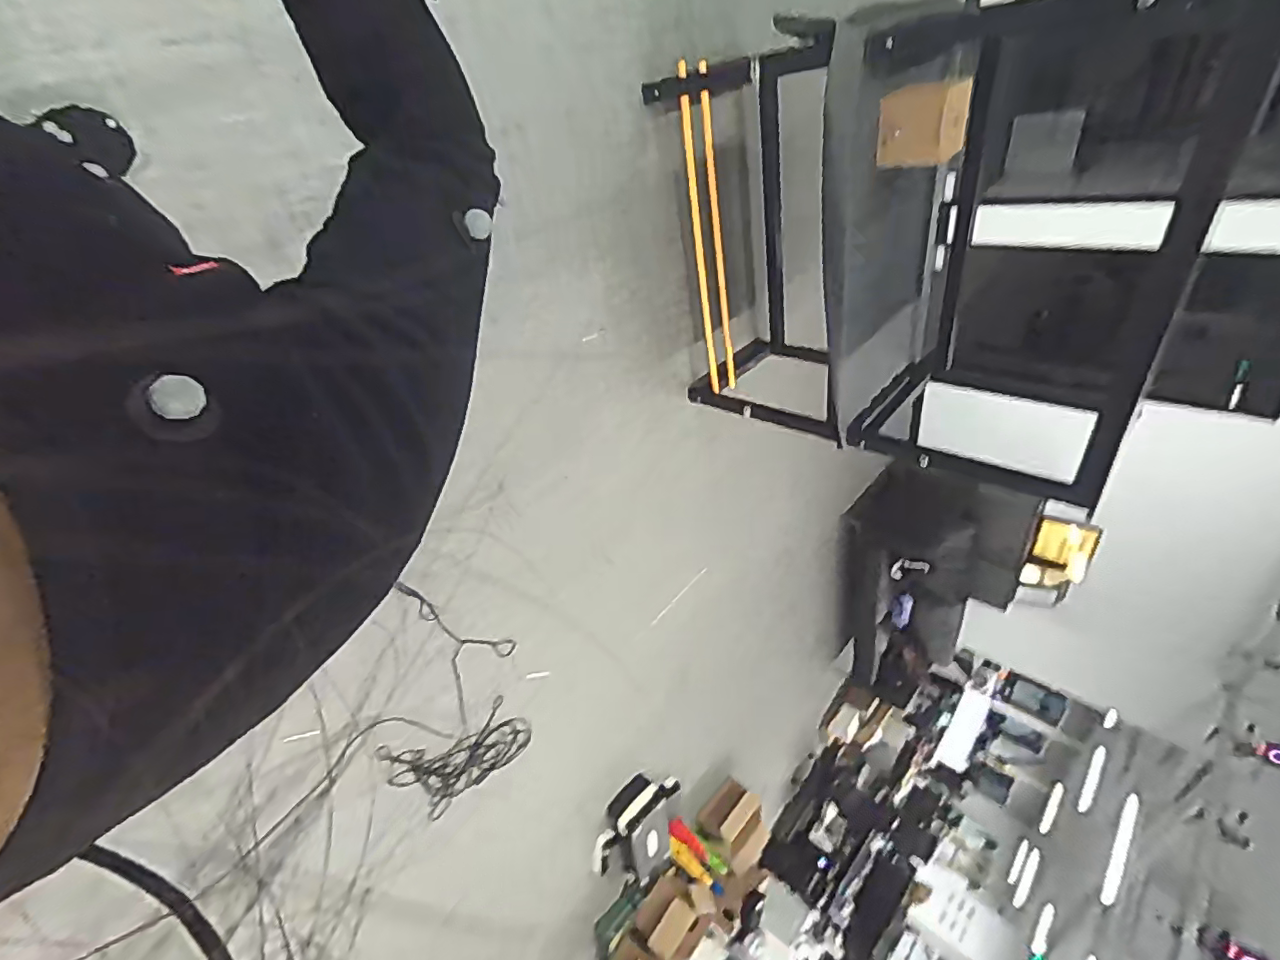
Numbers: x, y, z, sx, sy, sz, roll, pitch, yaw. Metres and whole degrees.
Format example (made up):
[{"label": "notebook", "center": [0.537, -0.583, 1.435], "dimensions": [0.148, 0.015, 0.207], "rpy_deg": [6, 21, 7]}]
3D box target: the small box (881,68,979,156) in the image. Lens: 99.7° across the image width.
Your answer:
[{"label": "small box", "center": [0.767, -0.976, 1.439], "dimensions": [0.179, 0.176, 0.168], "rpy_deg": [-38, 133, -30]}]
